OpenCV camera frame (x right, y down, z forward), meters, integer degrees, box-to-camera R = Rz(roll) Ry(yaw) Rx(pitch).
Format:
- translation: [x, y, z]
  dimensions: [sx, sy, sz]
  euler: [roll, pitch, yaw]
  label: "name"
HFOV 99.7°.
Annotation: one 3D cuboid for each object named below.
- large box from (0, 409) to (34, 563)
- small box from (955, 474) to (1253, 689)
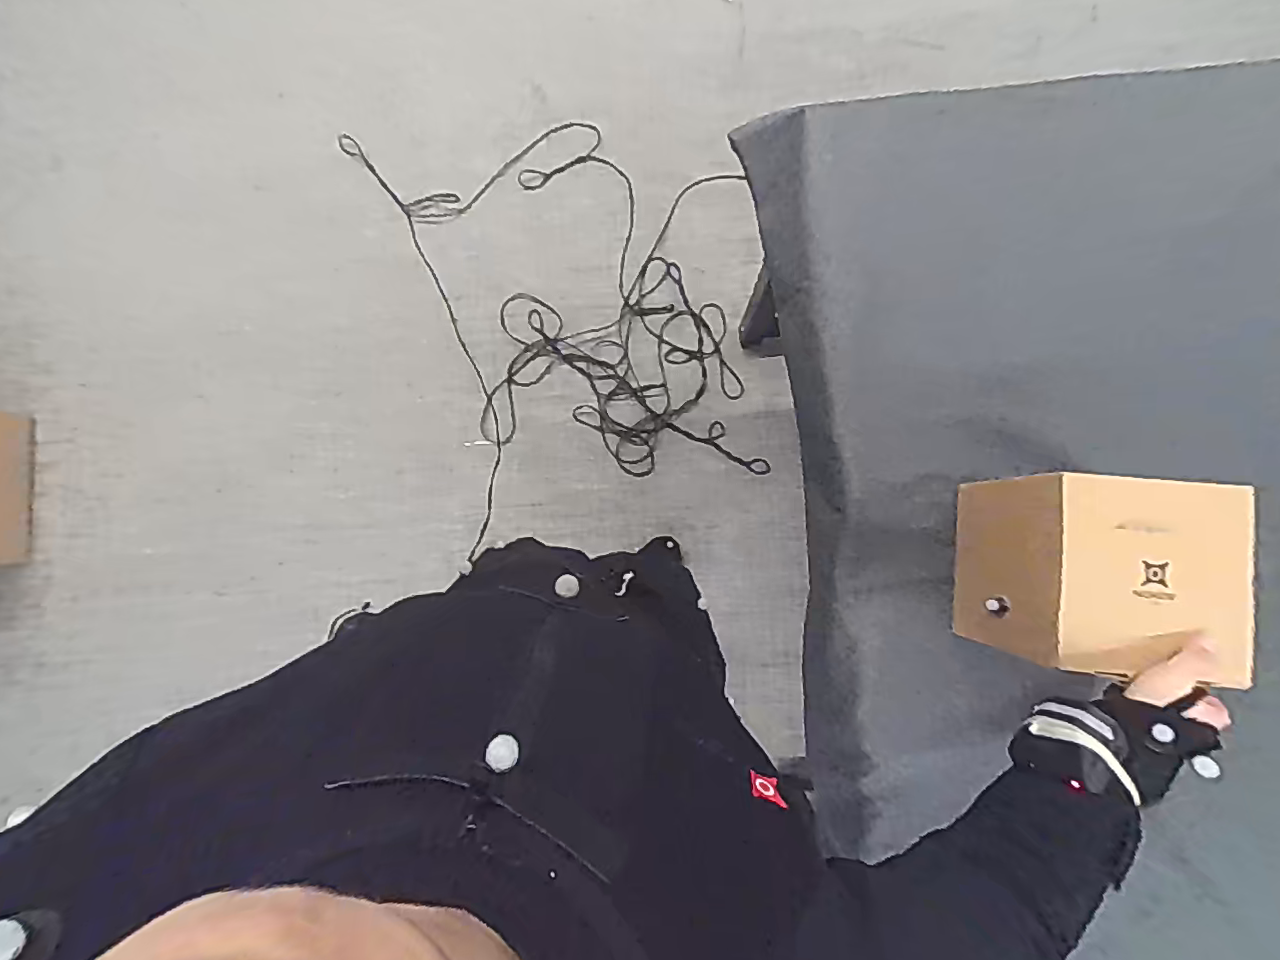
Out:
- translation: [-1.789, 0.020, 1.315]
  dimensions: [0.320, 0.320, 0.408]
  euler: [-5, 84, 1]
  label: "large box"
- translation: [0.448, 0.093, 0.550]
  dimensions: [0.168, 0.176, 0.179]
  euler: [4, 85, 1]
  label: "small box"
